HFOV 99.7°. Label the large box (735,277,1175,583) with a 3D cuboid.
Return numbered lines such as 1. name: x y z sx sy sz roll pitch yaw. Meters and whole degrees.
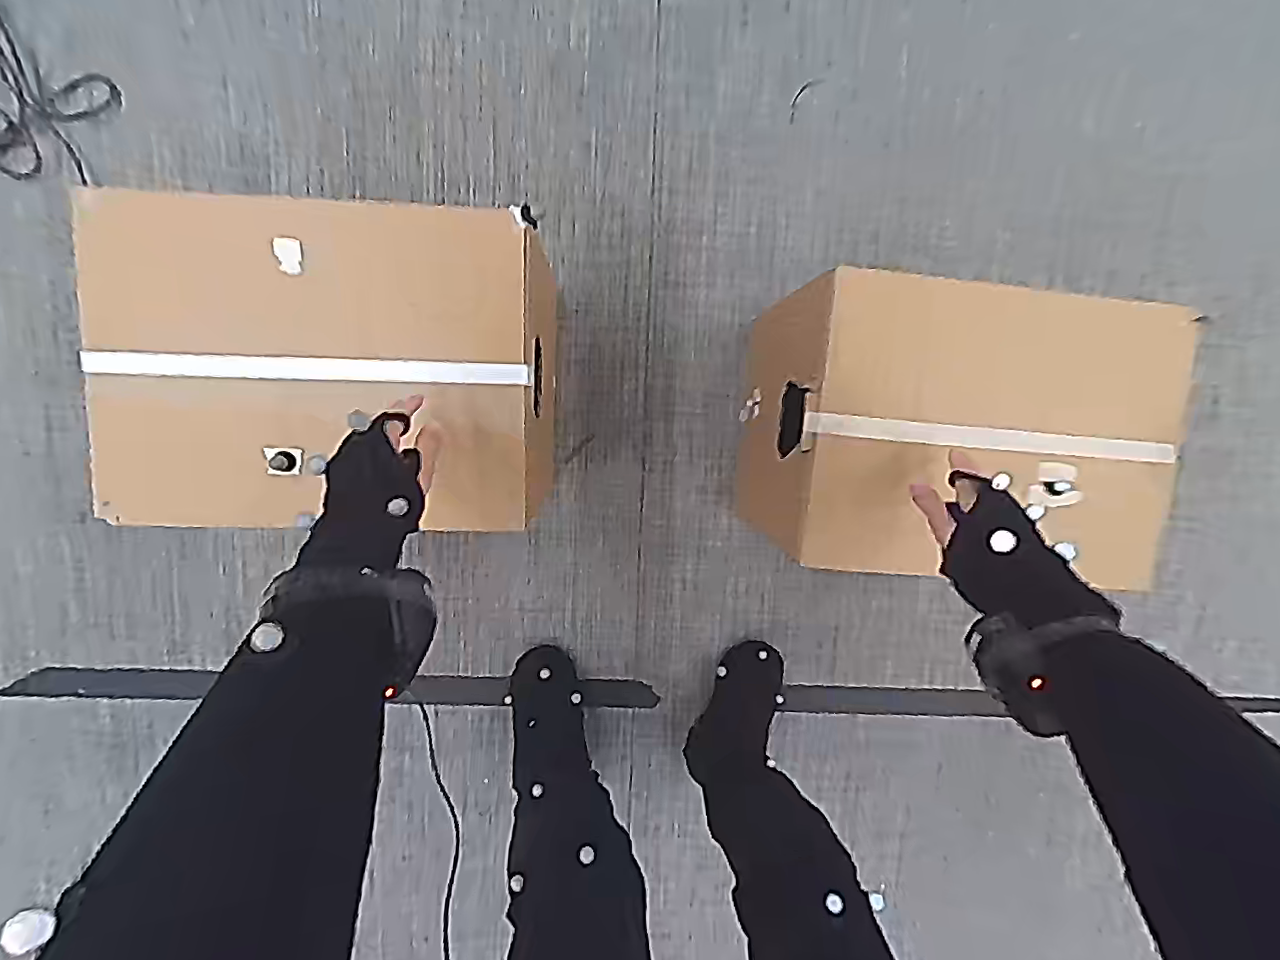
1. large box: 0.370 -0.060 0.740 0.408 0.320 0.320 5 96 -5
